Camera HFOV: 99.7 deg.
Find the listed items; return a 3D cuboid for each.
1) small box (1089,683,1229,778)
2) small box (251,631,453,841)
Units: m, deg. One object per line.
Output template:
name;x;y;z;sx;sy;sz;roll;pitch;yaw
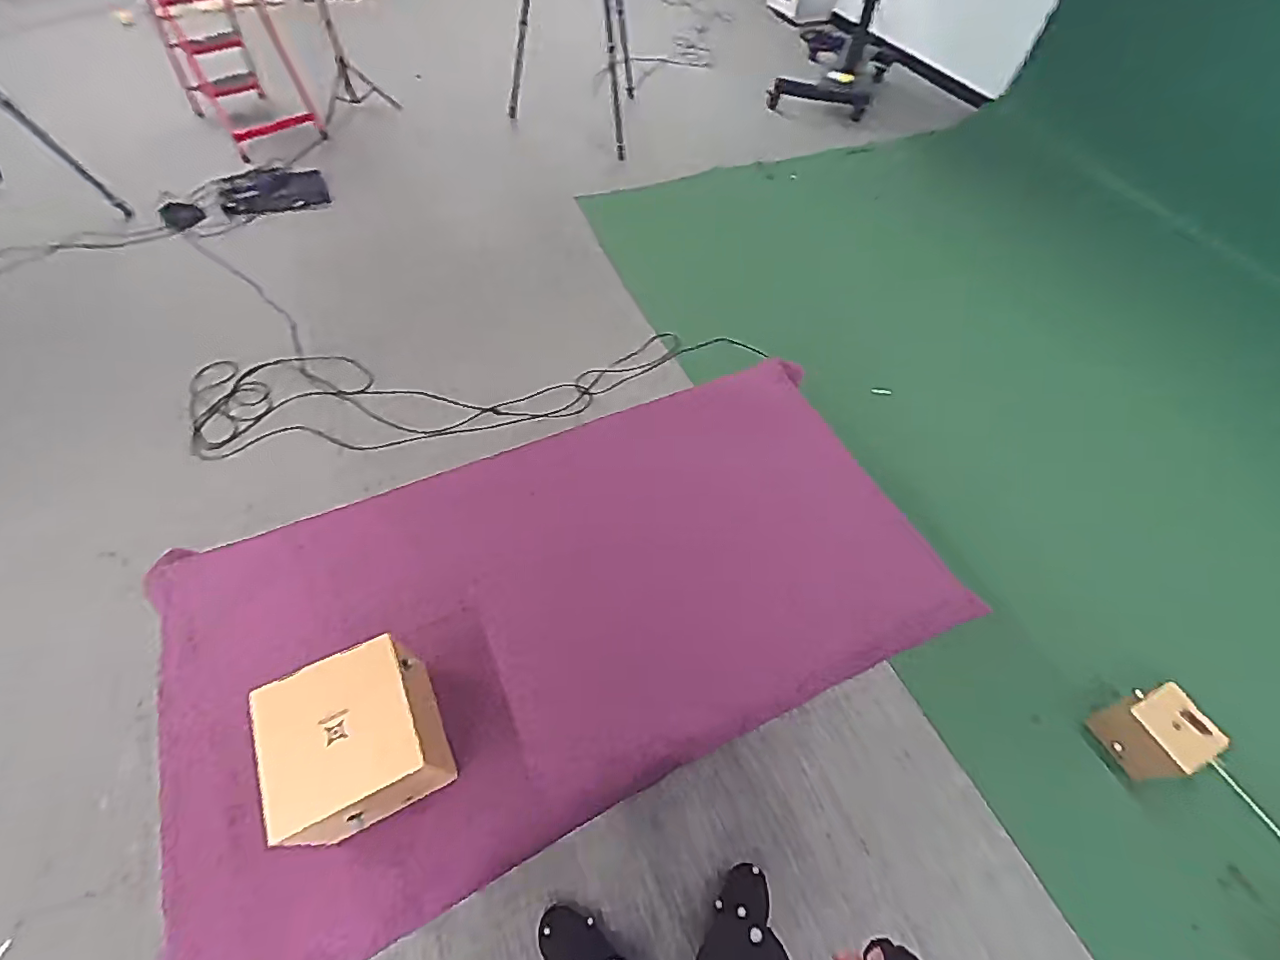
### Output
small box;1.364;0.668;1.437;0.179;0.176;0.168;-21;60;-15
small box;-0.358;0.329;0.697;0.168;0.176;0.179;-22;60;-17
